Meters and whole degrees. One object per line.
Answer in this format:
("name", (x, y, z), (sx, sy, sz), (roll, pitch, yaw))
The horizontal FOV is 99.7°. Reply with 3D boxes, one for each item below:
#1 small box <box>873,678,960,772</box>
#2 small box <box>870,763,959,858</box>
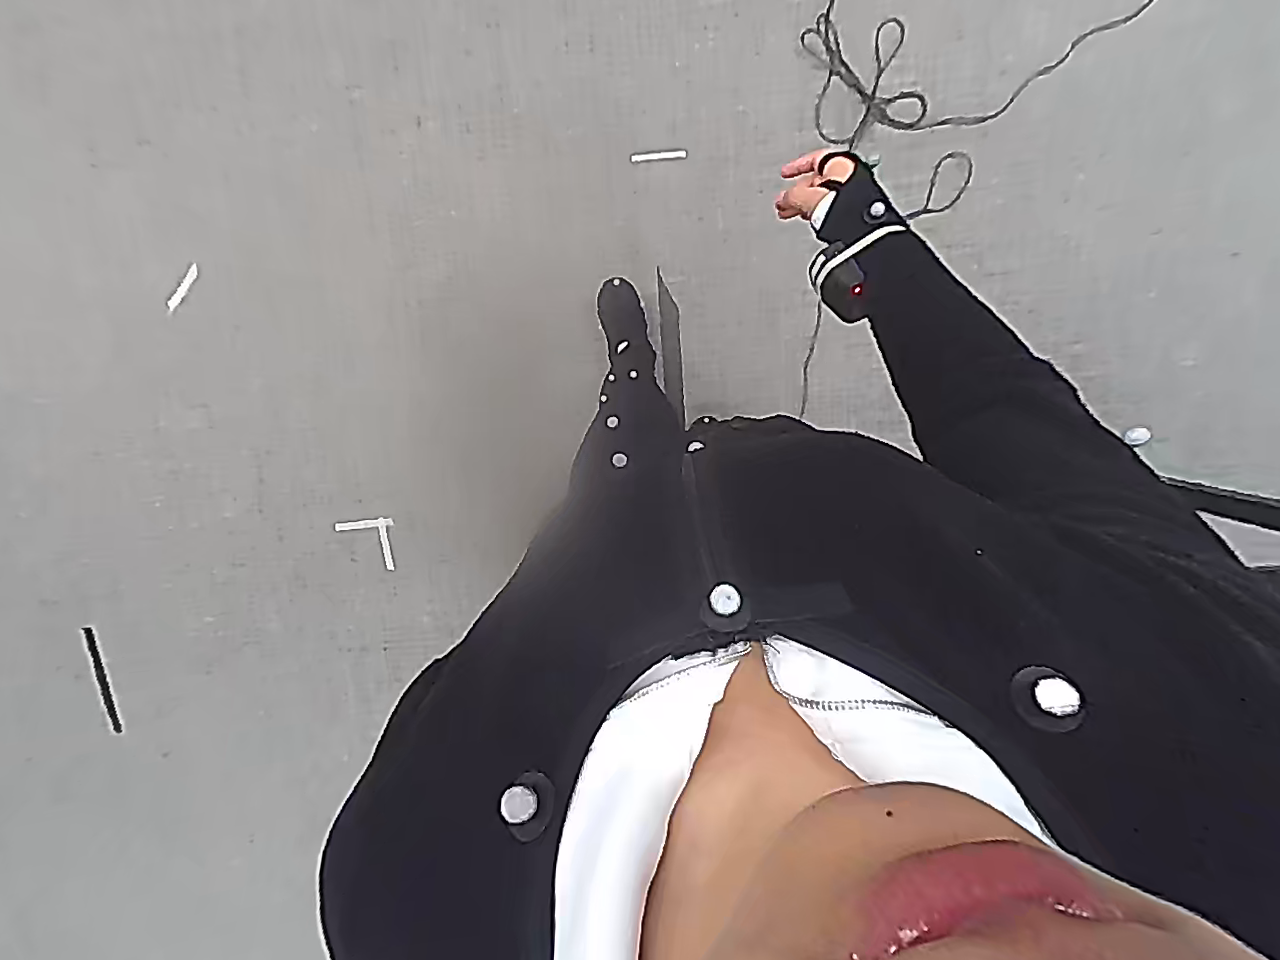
("small box", (0.759, 0.674, 1.497), (0.168, 0.176, 0.179), (-5, 99, 3))
("small box", (0.776, 0.932, 1.540), (0.179, 0.176, 0.168), (-5, 99, 3))
